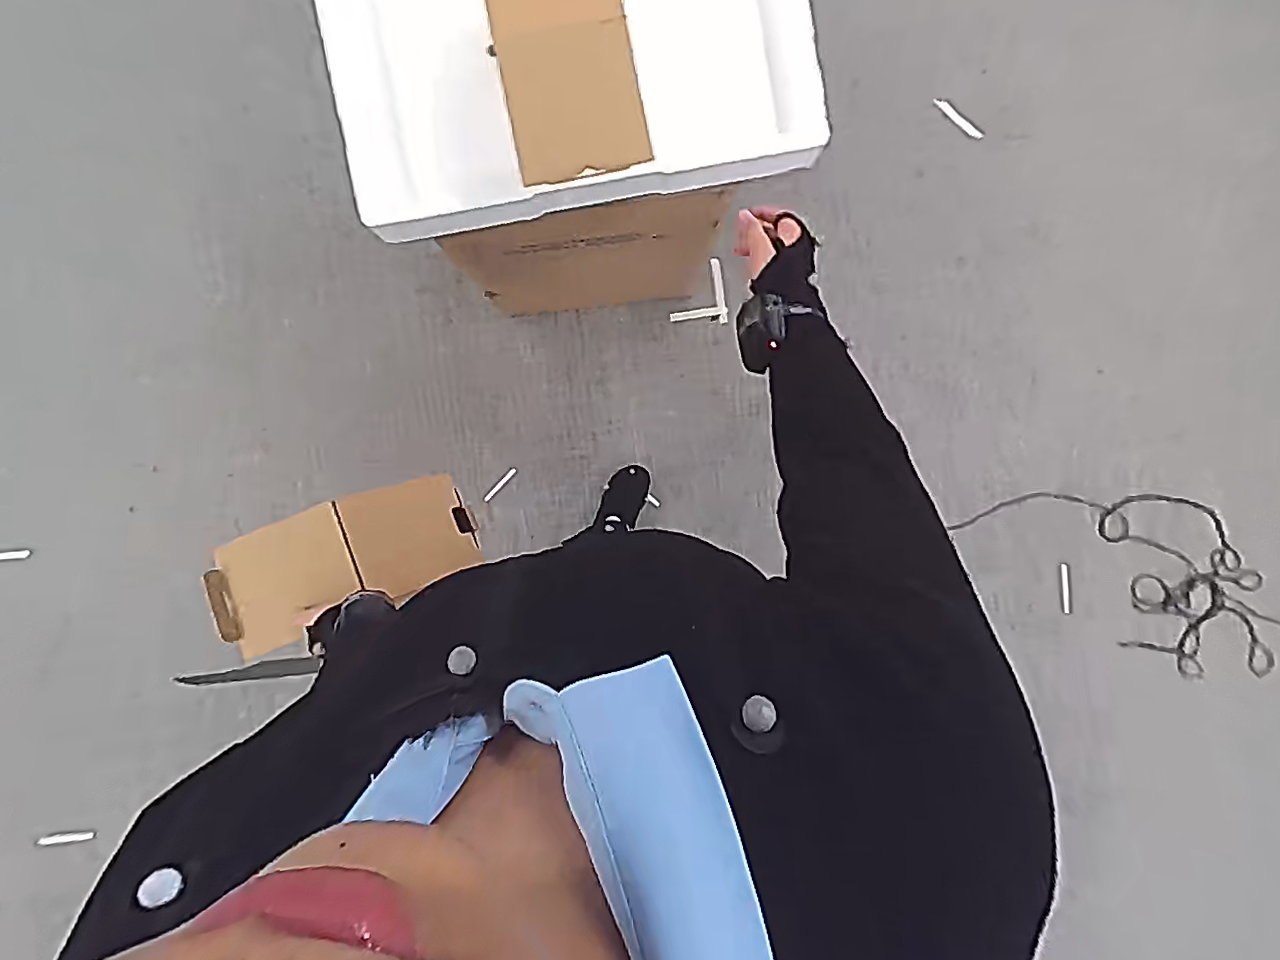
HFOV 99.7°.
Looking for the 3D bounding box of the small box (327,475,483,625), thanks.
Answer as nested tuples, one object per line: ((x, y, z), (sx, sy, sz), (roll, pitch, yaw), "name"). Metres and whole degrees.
((-0.378, 0.114, 0.857), (0.179, 0.176, 0.168), (-18, 80, -38), "small box")
